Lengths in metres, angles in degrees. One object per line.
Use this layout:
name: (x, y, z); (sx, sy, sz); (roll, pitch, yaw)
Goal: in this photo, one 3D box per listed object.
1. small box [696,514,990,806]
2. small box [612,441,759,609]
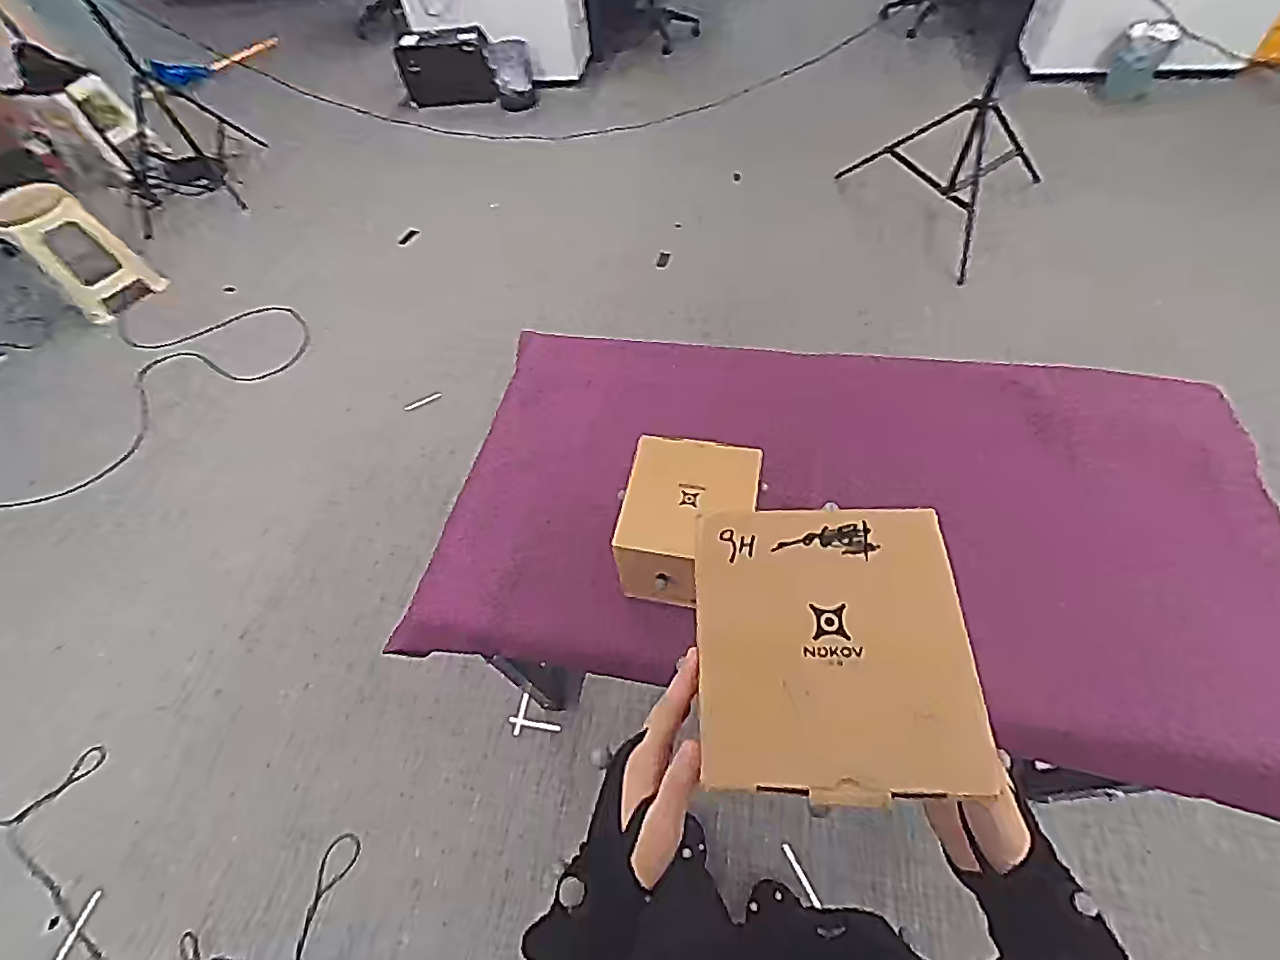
small box: (0.127, 0.138, 0.416); (0.168, 0.176, 0.179); (0, 63, 6)
small box: (0.068, 0.071, 0.753); (0.168, 0.176, 0.179); (8, 56, 10)
